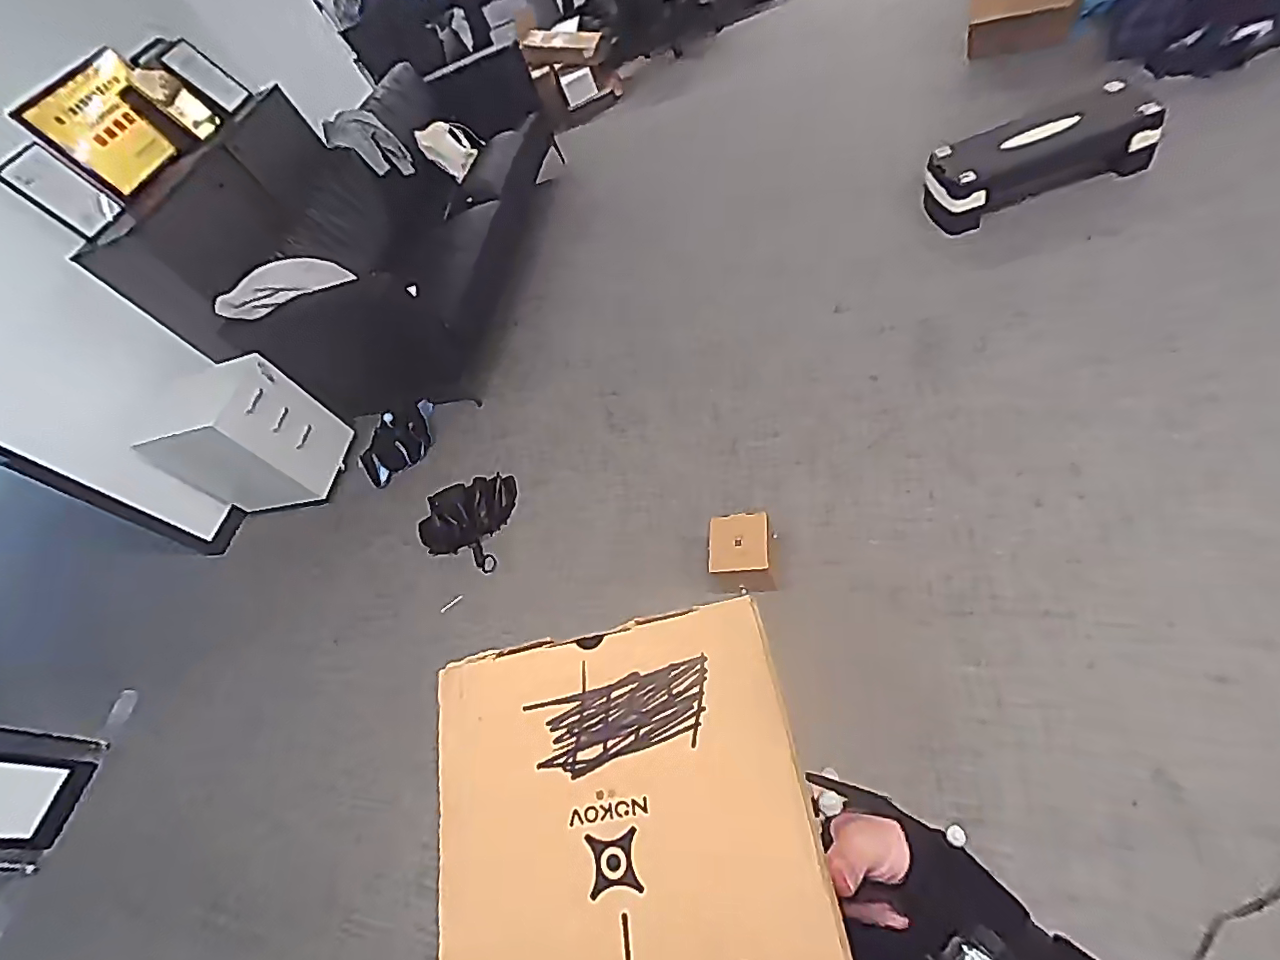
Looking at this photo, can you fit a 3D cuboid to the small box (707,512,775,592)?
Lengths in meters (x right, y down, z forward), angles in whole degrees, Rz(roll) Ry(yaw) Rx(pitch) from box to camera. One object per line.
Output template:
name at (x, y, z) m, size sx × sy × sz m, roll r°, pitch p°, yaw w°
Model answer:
small box at (0.298, 0.216, 1.584) m, size 0.168 × 0.176 × 0.179 m, roll -9°, pitch 56°, yaw 21°

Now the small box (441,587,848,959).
small box at (0.008, 0.180, 0.307) m, size 0.168 × 0.176 × 0.179 m, roll -16°, pitch 63°, yaw 9°
